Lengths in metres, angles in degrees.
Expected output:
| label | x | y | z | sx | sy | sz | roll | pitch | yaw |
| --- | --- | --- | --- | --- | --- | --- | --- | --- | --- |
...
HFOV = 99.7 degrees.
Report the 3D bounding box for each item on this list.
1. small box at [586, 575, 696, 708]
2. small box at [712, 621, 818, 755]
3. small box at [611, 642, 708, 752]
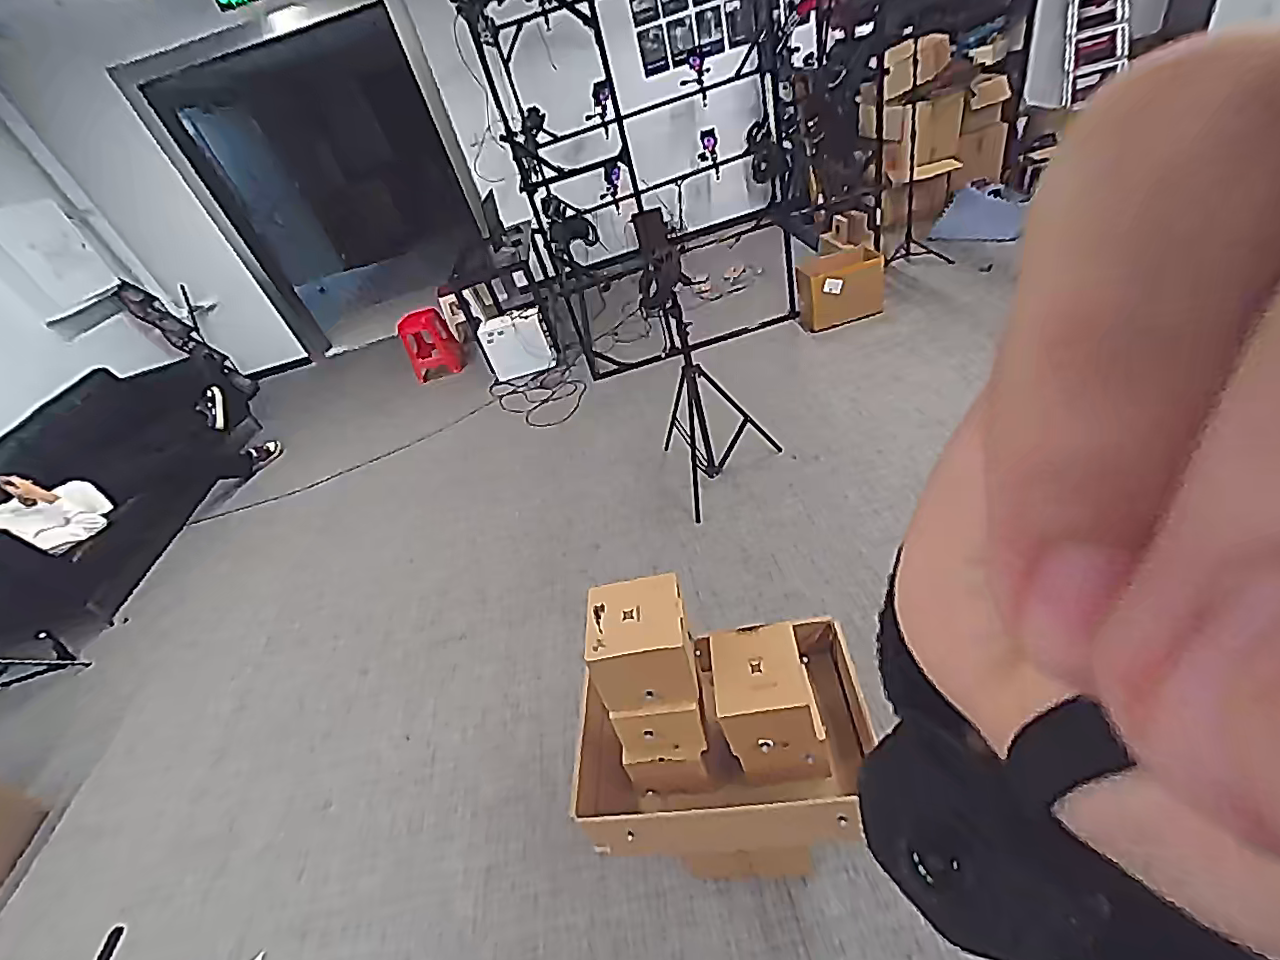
| label | x | y | z | sx | sy | sz | roll | pitch | yaw |
| --- | --- | --- | --- | --- | --- | --- | --- | --- | --- |
| small box | 0.008 | 0.305 | 1.018 | 0.179 | 0.176 | 0.168 | -10 | 36 | 7 |
| small box | 0.242 | 0.407 | 1.057 | 0.168 | 0.176 | 0.179 | -13 | 37 | 12 |
| small box | 0.043 | 0.437 | 1.109 | 0.168 | 0.176 | 0.179 | -10 | 37 | 8 |
